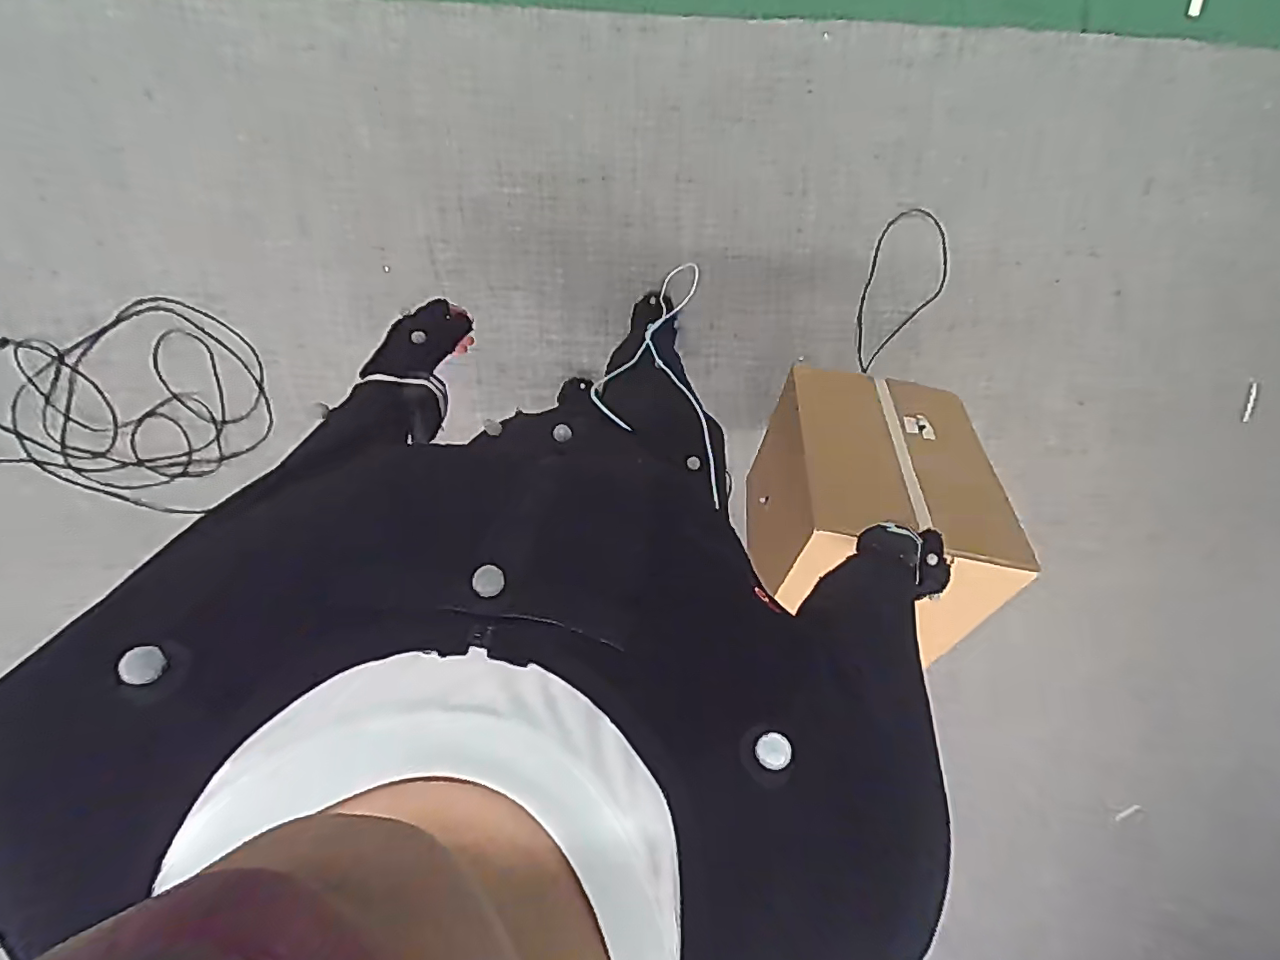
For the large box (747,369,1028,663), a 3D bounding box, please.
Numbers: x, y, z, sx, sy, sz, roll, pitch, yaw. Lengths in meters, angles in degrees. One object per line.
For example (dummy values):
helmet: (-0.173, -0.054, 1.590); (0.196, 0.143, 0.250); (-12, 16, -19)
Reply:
large box: (0.386, 0.061, 0.979); (0.320, 0.408, 0.320); (12, 136, -2)
